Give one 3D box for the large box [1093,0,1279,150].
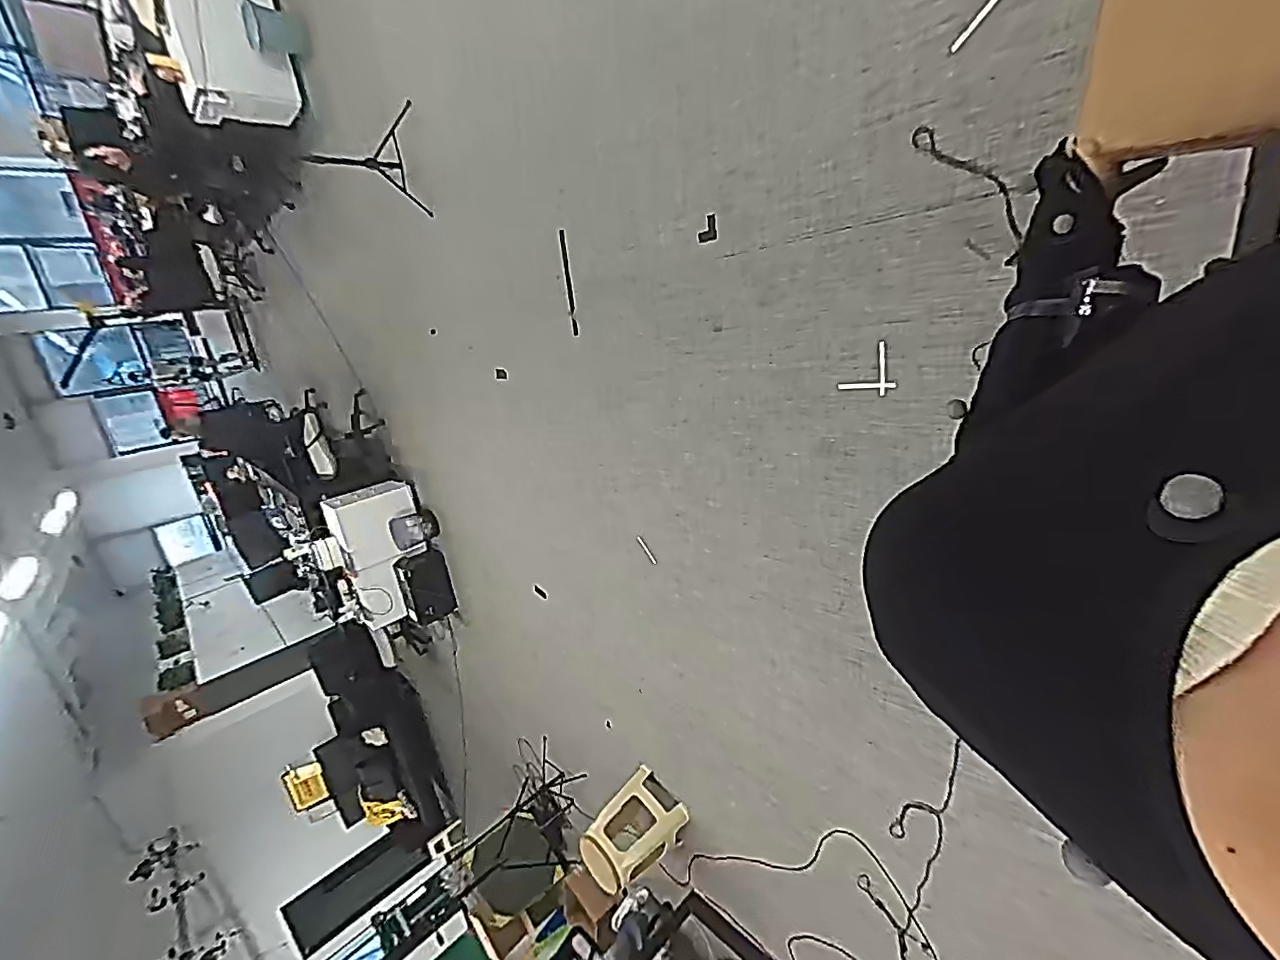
[{"bbox_3d":[0.427,-0.314,0.156,0.408,0.320,0.320,15,123,39],"label":"large box"}]
